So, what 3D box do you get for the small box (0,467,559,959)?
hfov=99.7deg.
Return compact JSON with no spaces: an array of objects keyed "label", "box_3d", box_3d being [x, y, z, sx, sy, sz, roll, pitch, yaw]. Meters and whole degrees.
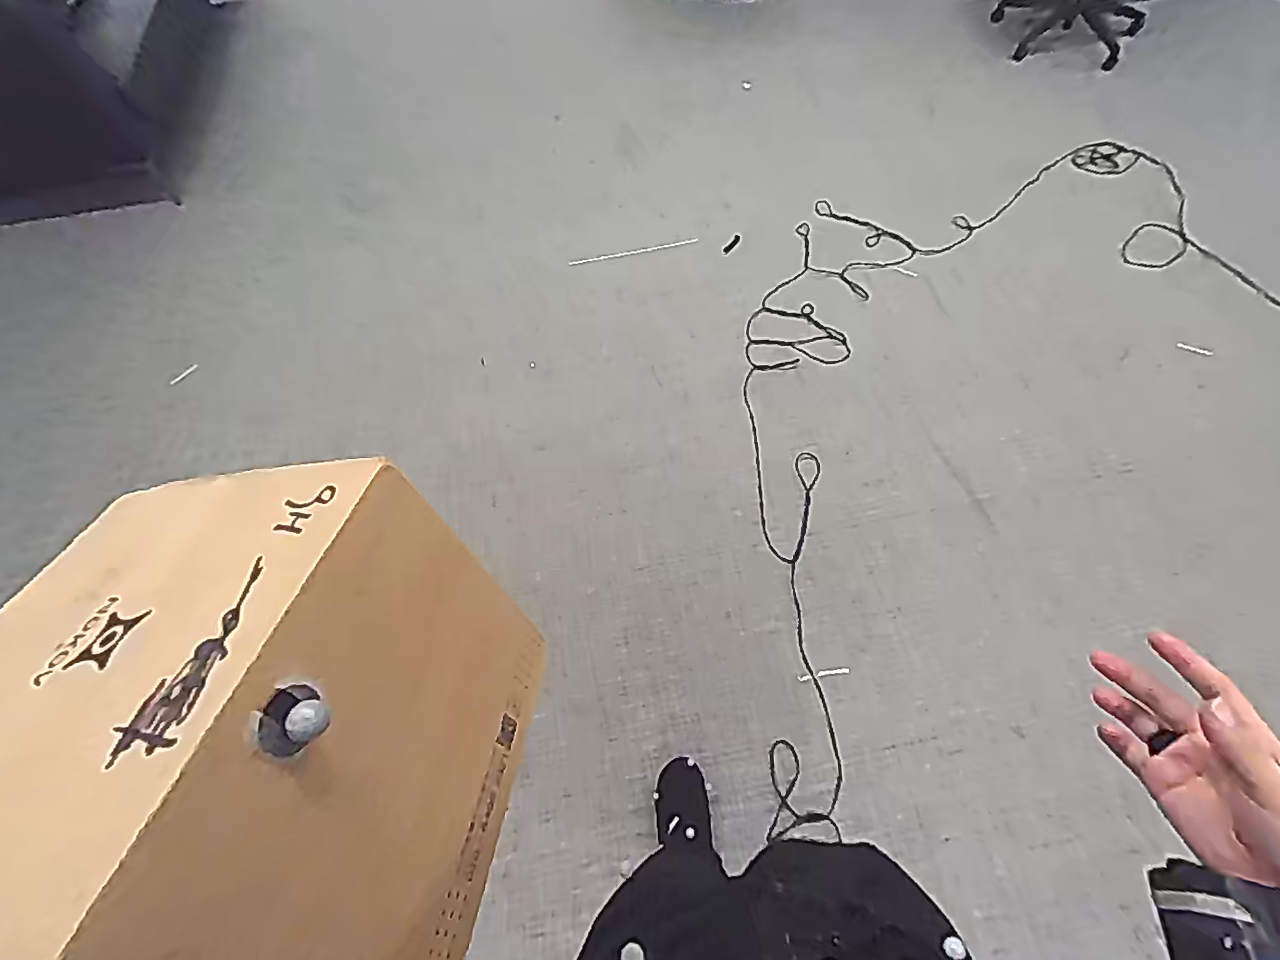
[{"label":"small box","box_3d":[-0.165,0.117,0.258,0.179,0.176,0.168,-7,46,19]}]
